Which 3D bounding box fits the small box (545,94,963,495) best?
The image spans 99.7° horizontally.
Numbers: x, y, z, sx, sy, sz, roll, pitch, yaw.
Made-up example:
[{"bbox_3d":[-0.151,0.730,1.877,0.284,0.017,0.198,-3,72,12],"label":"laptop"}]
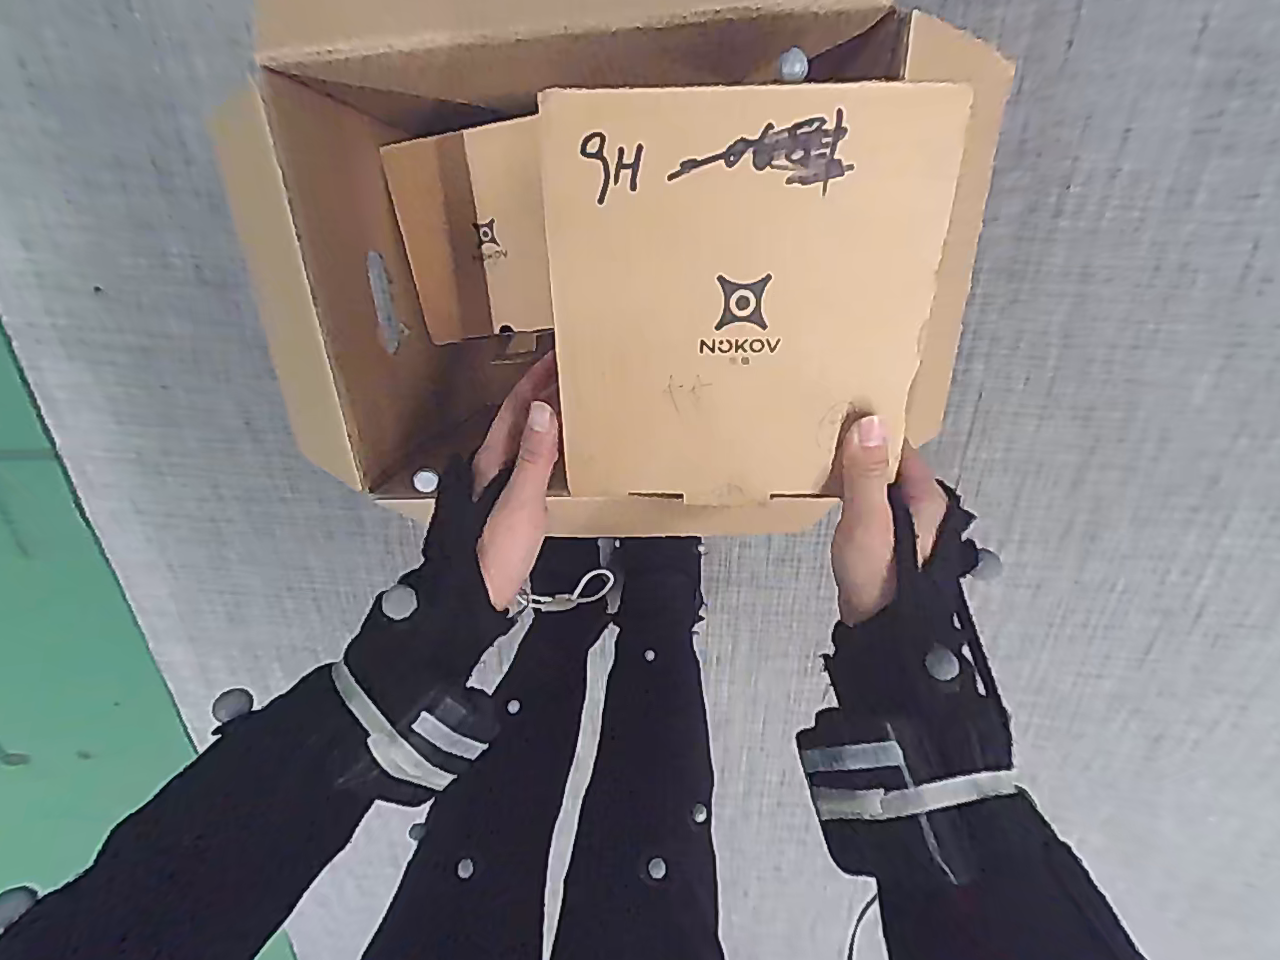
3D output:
[{"bbox_3d":[0.047,-0.106,0.318,0.168,0.176,0.179,0,115,2],"label":"small box"}]
